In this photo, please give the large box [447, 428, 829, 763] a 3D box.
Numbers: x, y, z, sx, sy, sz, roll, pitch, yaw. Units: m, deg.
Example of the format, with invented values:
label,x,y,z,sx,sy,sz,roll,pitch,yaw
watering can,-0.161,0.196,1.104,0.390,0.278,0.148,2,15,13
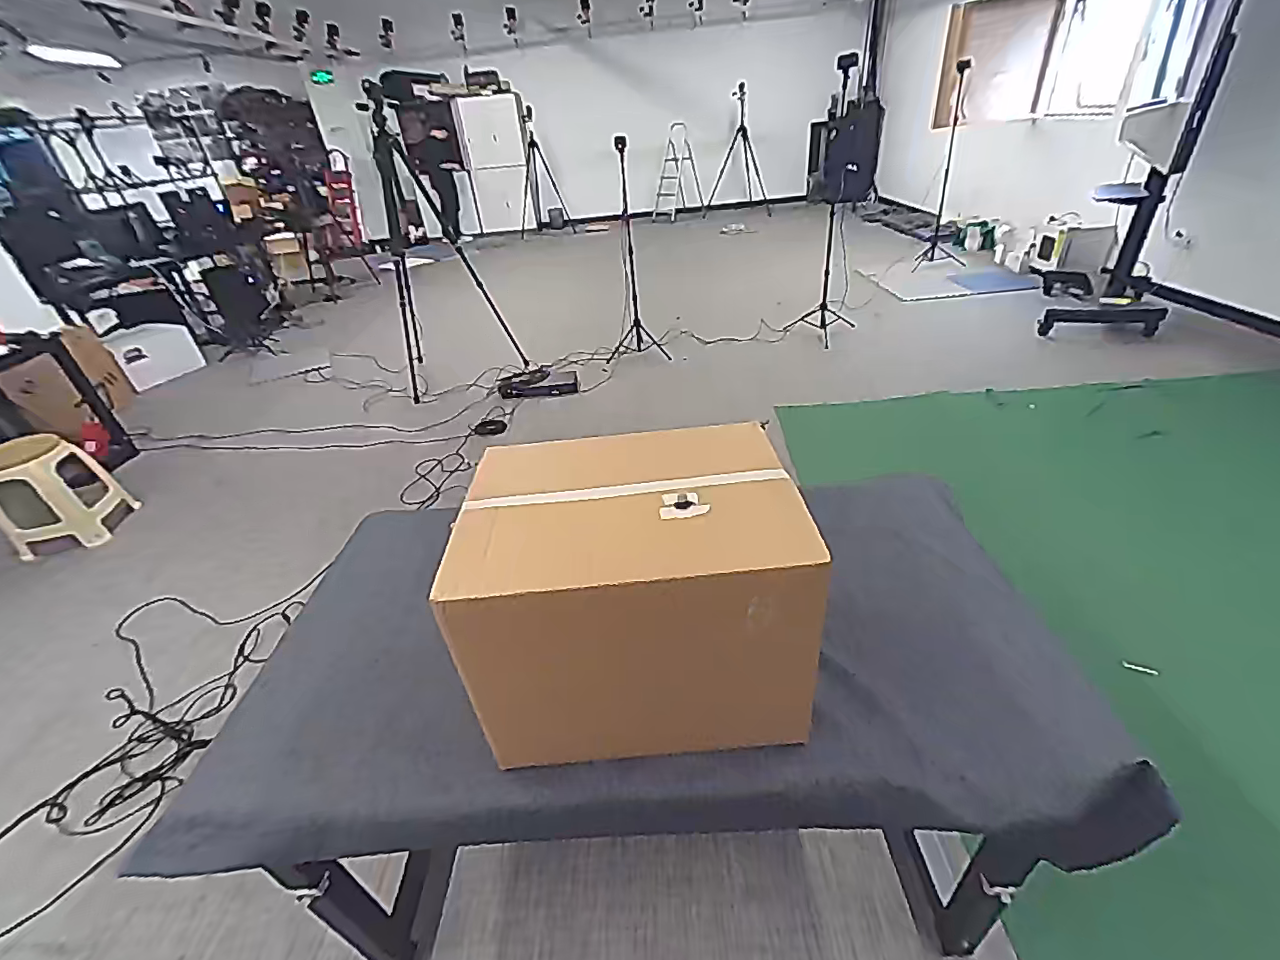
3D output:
label,x,y,z,sx,sy,sz,roll,pitch,yaw
large box,-0.001,0.147,0.752,0.408,0.320,0.320,-5,33,0
